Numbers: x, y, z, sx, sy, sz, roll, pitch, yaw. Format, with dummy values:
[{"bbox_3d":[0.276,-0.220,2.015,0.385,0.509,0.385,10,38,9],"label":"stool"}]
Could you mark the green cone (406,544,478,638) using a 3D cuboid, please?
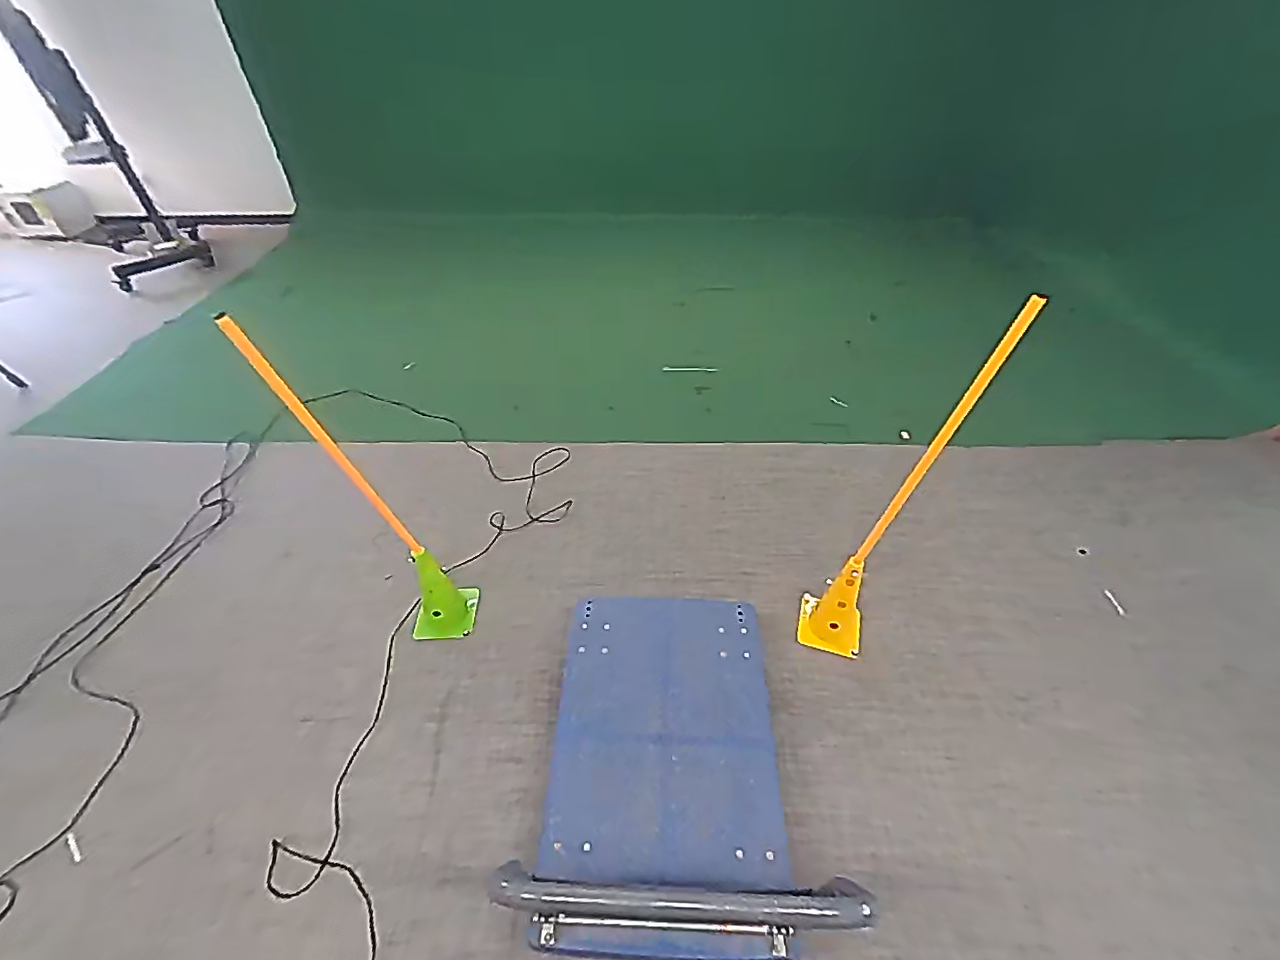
[{"bbox_3d":[-0.688,0.339,1.790,0.202,0.368,0.200,-4,43,0],"label":"green cone"}]
